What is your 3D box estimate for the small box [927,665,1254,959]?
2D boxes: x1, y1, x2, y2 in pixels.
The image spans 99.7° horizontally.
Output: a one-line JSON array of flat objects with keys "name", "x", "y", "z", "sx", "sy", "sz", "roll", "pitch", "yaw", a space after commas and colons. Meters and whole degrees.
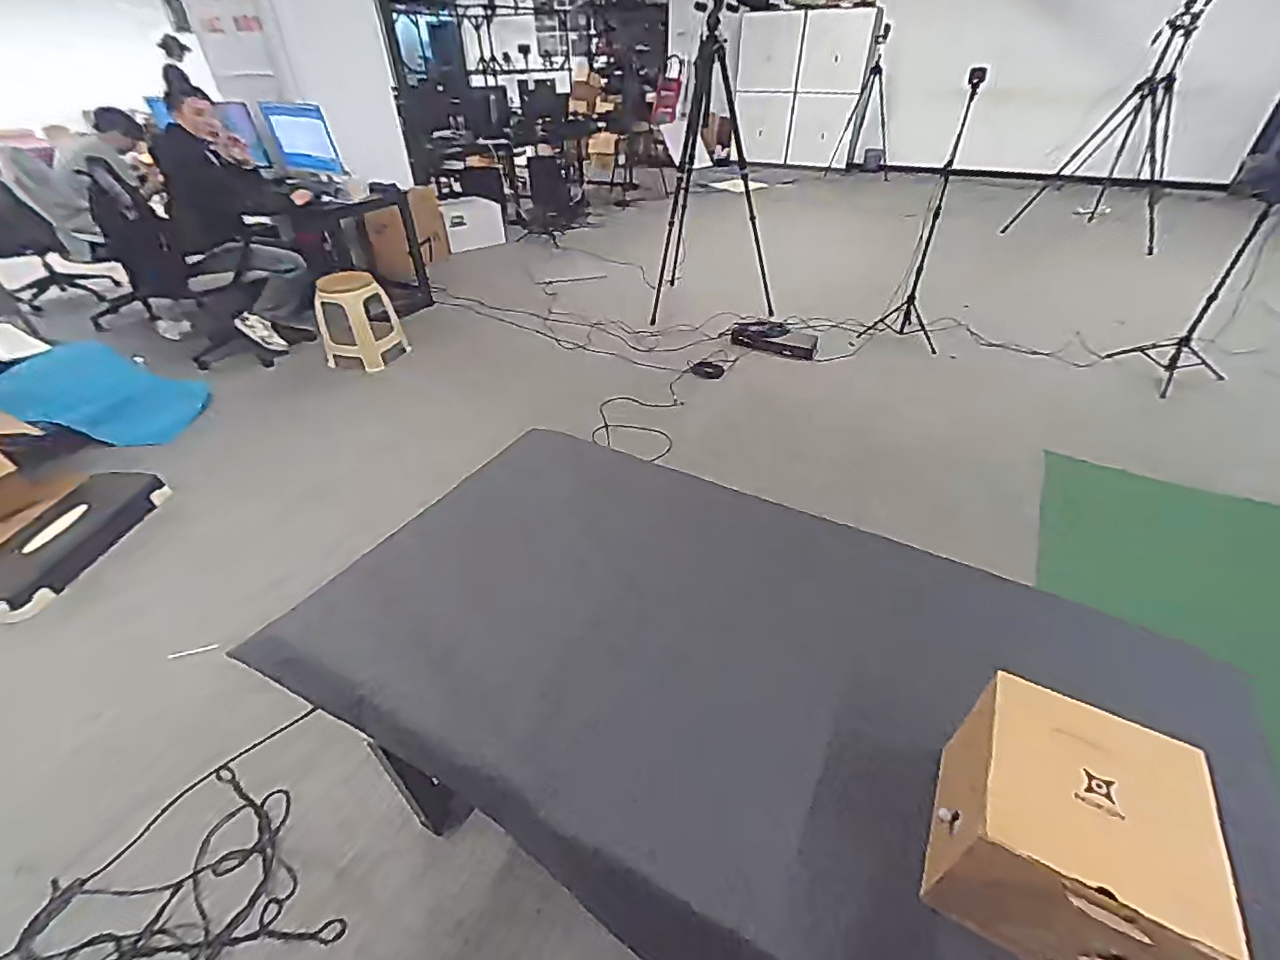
[{"name": "small box", "x": 0.385, "y": 0.318, "z": 0.500, "sx": 0.168, "sy": 0.176, "sz": 0.179, "roll": 20, "pitch": 42, "yaw": 23}]
